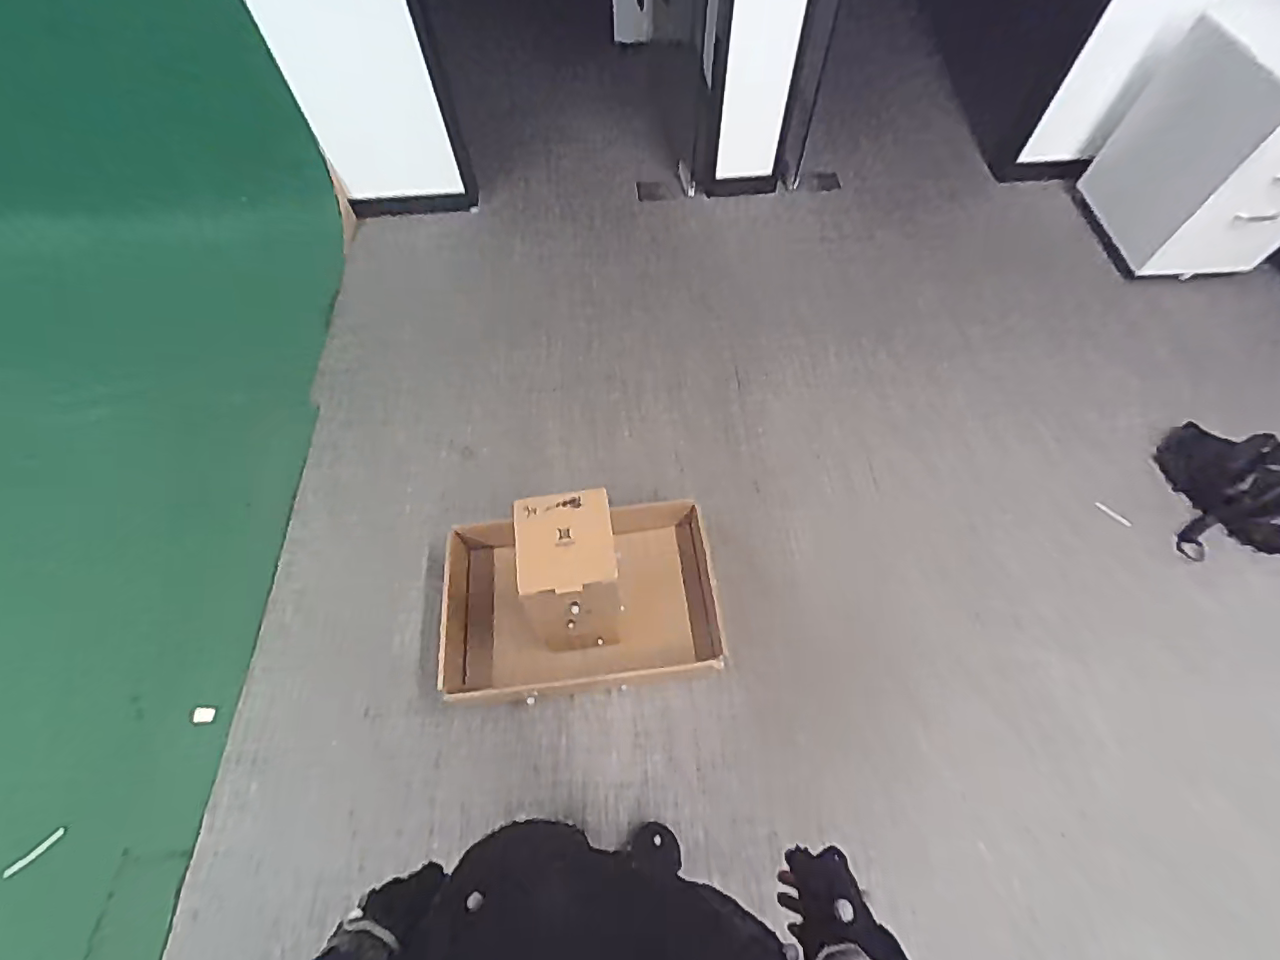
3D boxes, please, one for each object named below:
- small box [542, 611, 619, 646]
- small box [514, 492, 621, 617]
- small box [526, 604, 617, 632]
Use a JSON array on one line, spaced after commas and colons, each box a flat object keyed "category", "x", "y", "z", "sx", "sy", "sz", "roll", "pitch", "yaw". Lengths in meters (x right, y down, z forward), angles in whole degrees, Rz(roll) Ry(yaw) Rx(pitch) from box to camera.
[{"category": "small box", "x": -0.140, "y": 0.286, "z": 1.282, "sx": 0.168, "sy": 0.176, "sz": 0.179, "roll": -6, "pitch": 60, "yaw": -4}, {"category": "small box", "x": -0.130, "y": 0.147, "z": 1.007, "sx": 0.168, "sy": 0.176, "sz": 0.179, "roll": -10, "pitch": 61, "yaw": -4}, {"category": "small box", "x": -0.140, "y": 0.219, "z": 1.150, "sx": 0.179, "sy": 0.176, "sz": 0.168, "roll": -5, "pitch": 60, "yaw": -2}]
